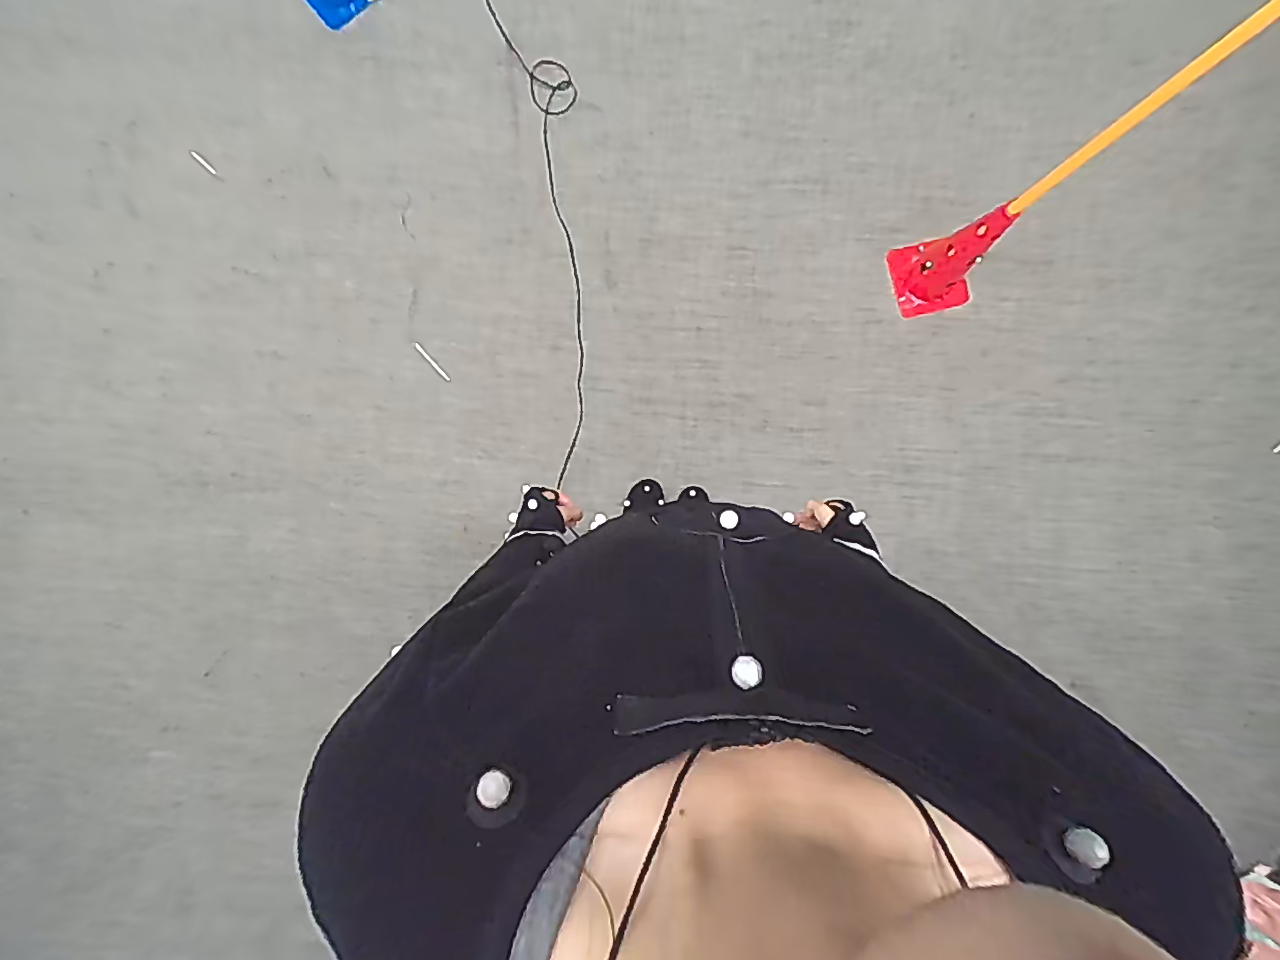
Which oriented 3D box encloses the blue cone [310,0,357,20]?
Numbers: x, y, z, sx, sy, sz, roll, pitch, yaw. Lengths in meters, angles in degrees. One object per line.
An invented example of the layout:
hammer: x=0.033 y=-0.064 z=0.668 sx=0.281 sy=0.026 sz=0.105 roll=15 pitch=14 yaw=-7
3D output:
blue cone: x=-0.878 y=-1.426 z=1.378 sx=0.193 sy=0.380 sz=0.192 roll=-41 pitch=89 yaw=2
